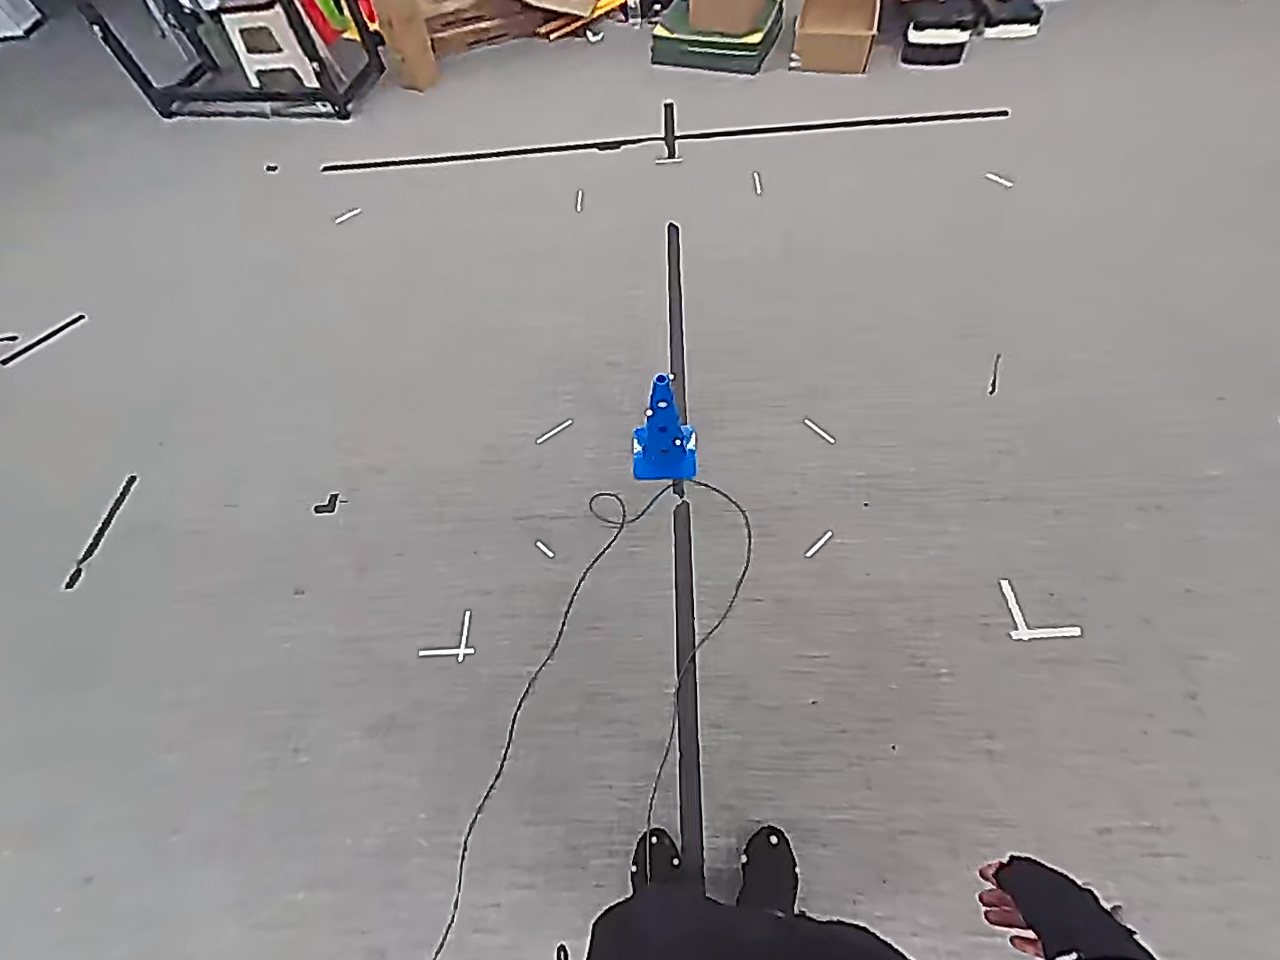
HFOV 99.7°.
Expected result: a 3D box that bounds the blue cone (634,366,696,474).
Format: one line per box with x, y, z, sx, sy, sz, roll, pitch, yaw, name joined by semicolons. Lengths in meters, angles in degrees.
0.066;-0.182;1.560;0.193;0.380;0.192;-3;60;4;blue cone
